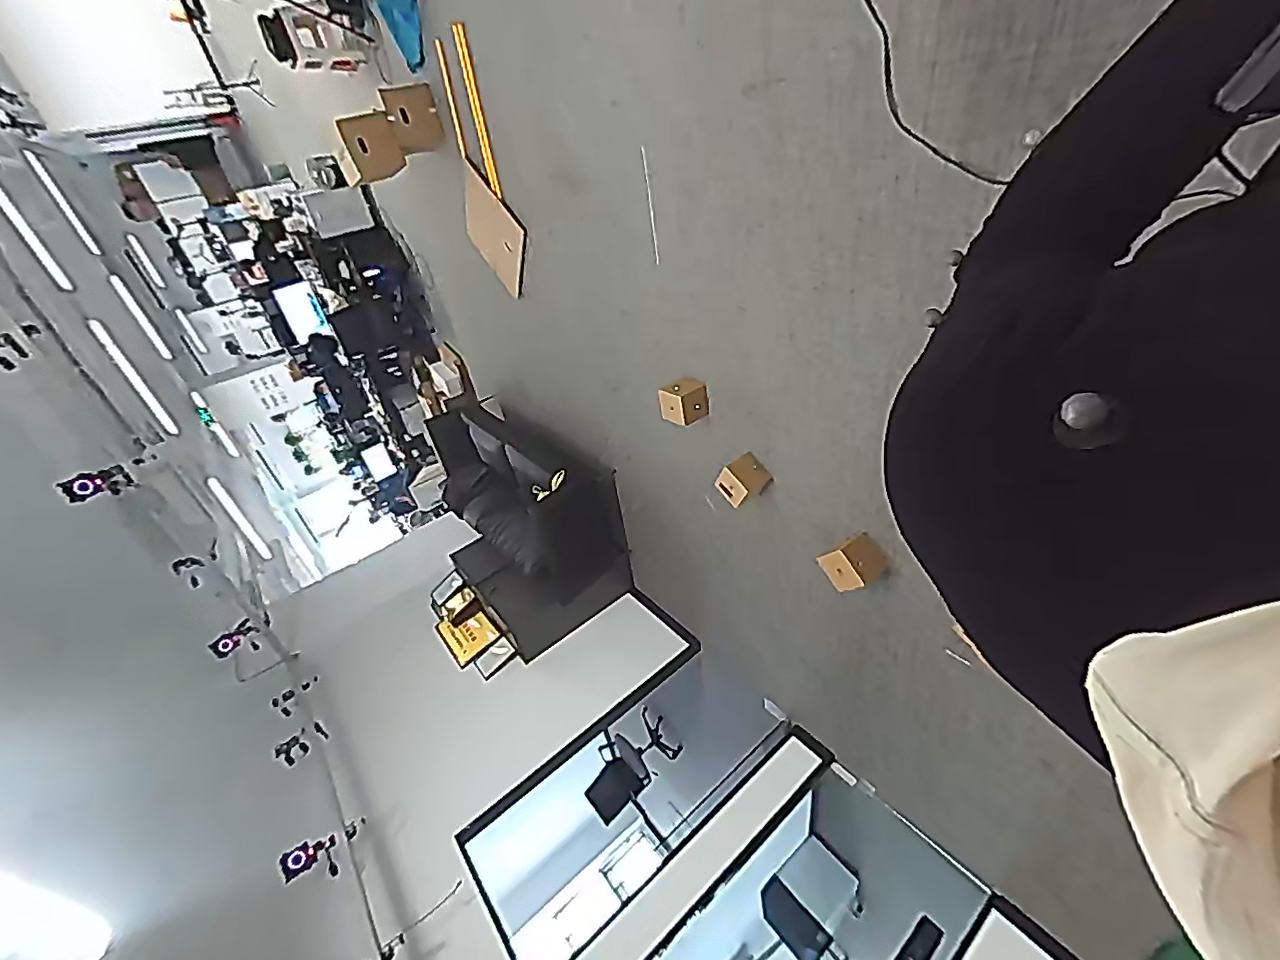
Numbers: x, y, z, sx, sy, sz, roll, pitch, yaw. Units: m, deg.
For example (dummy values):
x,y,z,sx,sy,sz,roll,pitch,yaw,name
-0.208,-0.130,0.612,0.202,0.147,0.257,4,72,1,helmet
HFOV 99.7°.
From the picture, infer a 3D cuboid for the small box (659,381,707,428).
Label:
x,y,z,sx,sy,sz,roll,pitch,yaw,name
0.222,-0.383,2.706,0.179,0.176,0.168,29,139,46,small box
